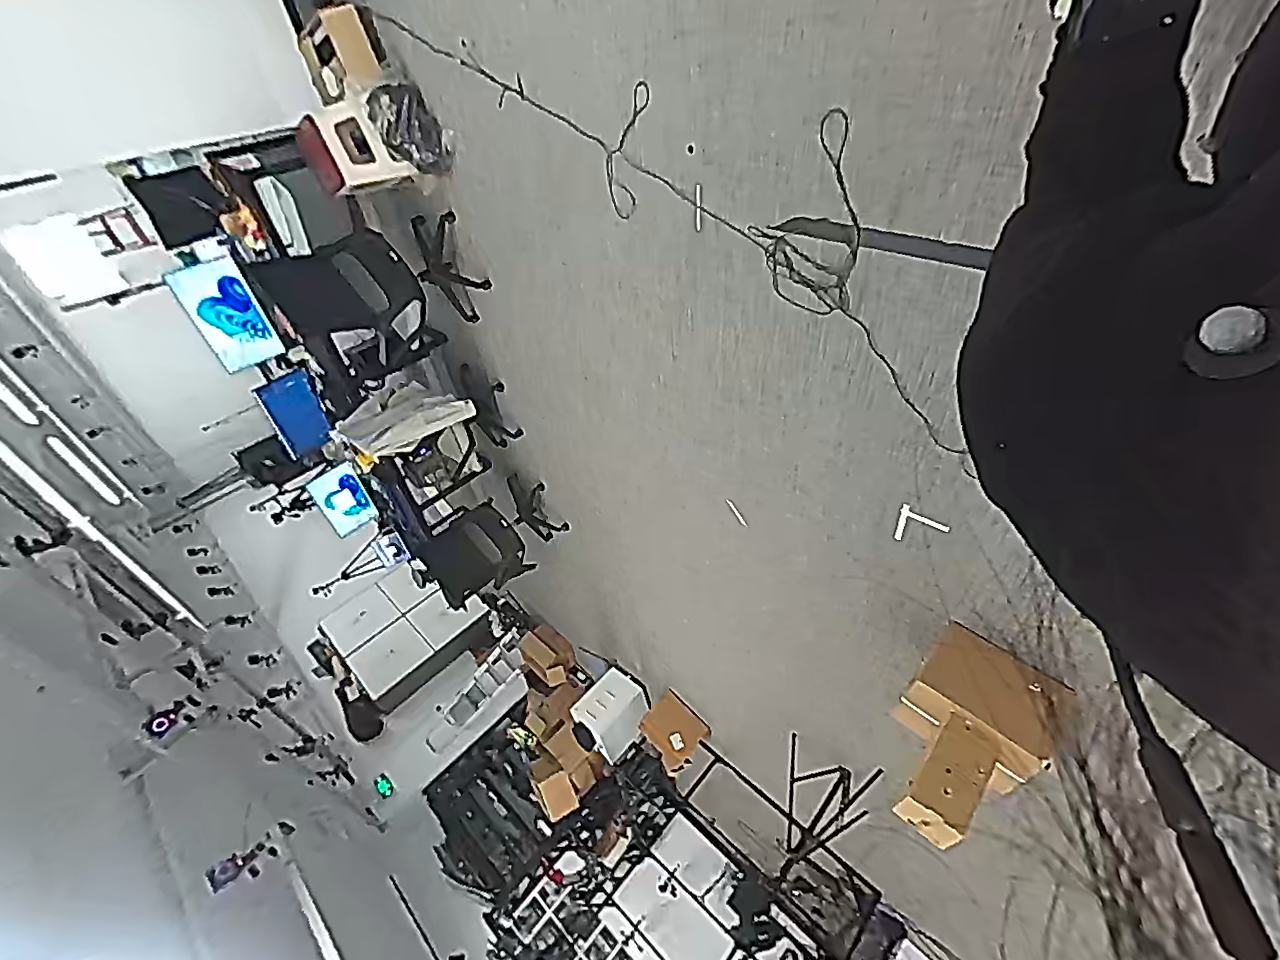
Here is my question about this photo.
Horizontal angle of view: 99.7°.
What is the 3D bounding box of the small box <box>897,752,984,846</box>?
[{"bbox_3d":[0.941,0.990,1.689,0.168,0.176,0.179,33,144,29],"label":"small box"}]
